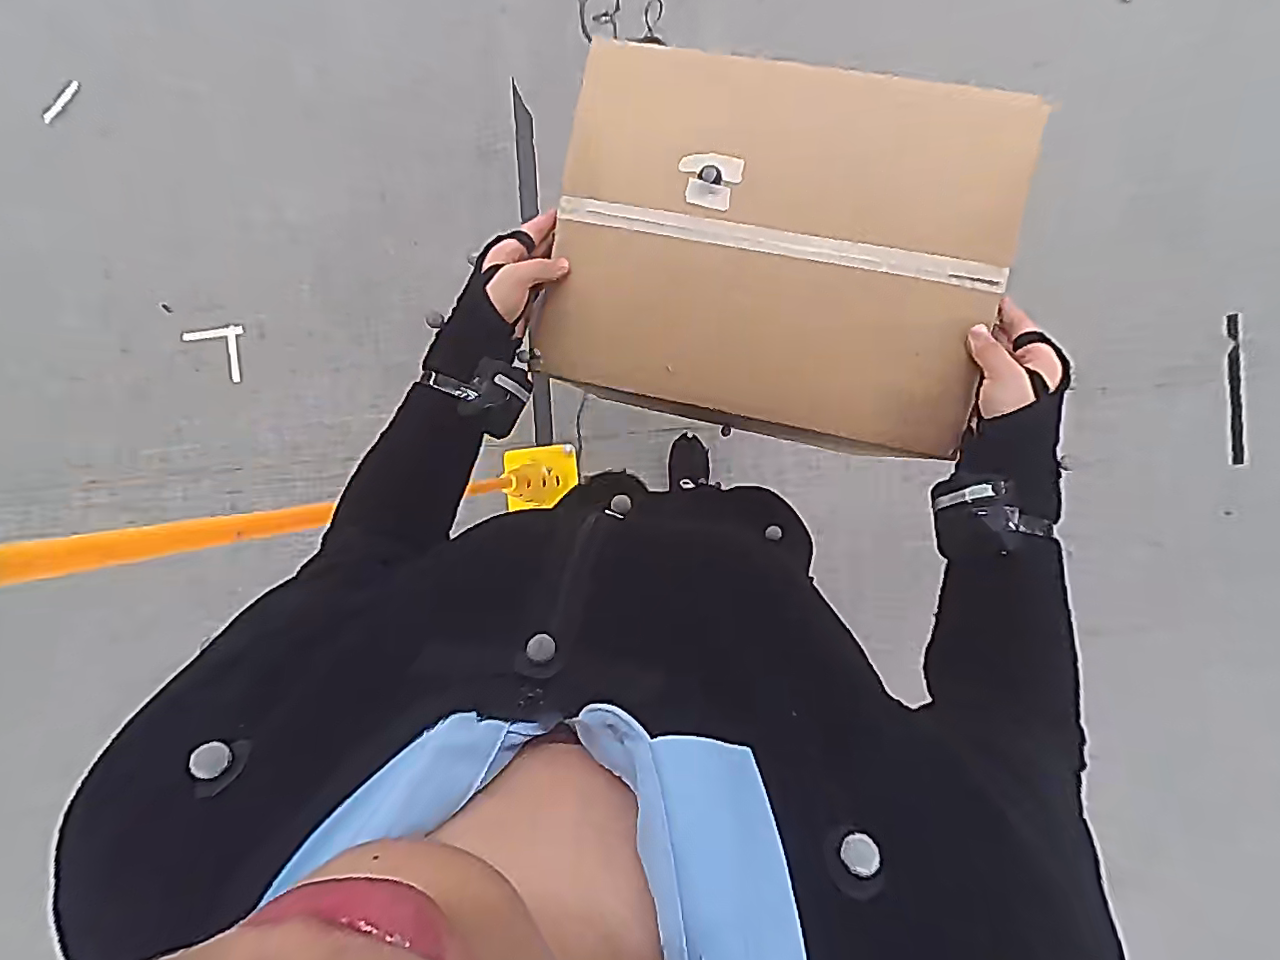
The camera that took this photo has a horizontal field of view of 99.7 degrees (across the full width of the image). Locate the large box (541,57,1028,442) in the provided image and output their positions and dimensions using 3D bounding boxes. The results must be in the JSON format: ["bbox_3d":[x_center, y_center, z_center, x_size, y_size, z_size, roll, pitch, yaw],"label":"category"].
[{"bbox_3d":[0.142,-0.229,0.653,0.408,0.320,0.320,12,94,7],"label":"large box"}]
